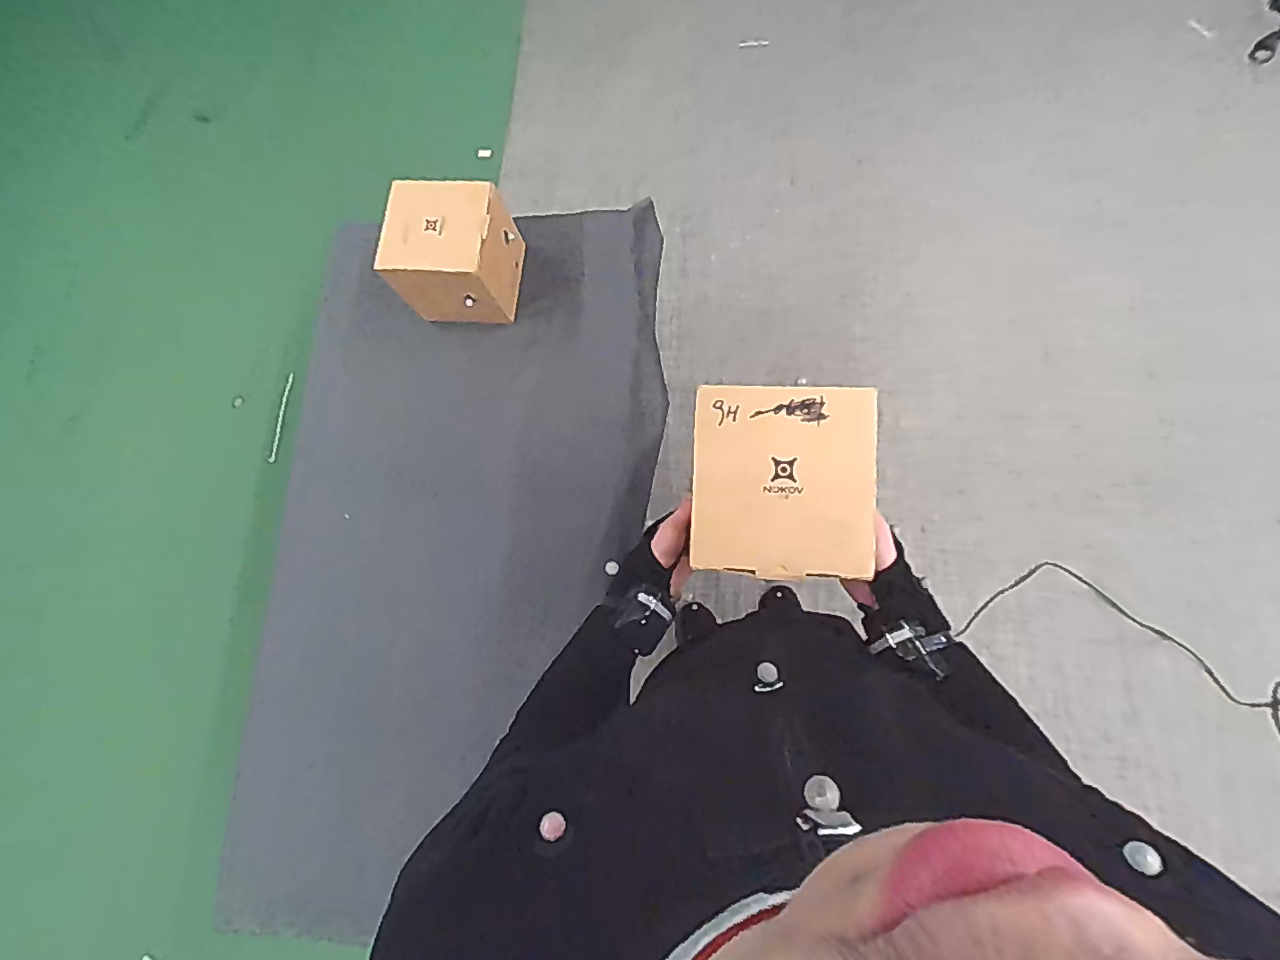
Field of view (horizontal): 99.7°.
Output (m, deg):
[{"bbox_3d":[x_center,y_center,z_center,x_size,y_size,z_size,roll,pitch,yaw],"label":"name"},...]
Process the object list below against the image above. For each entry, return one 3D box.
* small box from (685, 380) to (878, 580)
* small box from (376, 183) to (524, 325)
[{"bbox_3d":[0.137,0.002,0.565,0.168,0.176,0.179,2,86,7],"label":"small box"},{"bbox_3d":[-0.316,-0.384,0.940,0.179,0.176,0.168,4,77,9],"label":"small box"}]
